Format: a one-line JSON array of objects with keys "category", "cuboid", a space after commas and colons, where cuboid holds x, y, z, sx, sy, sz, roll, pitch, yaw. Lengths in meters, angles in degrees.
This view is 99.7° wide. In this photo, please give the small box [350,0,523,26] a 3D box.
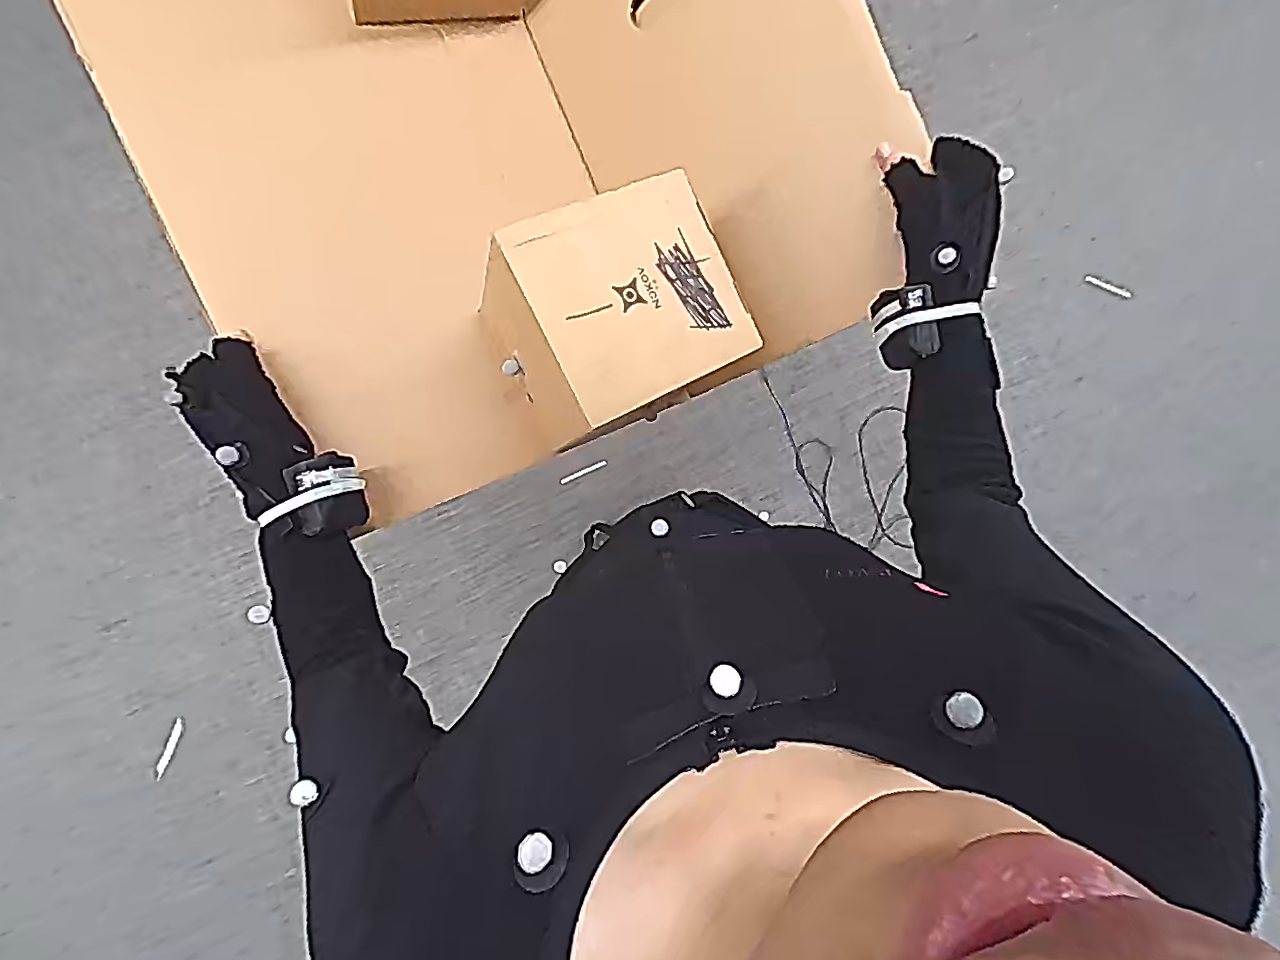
[{"category": "small box", "cuboid": [-0.201, -0.551, 0.482, 0.179, 0.176, 0.168, -20, 93, -20]}]
